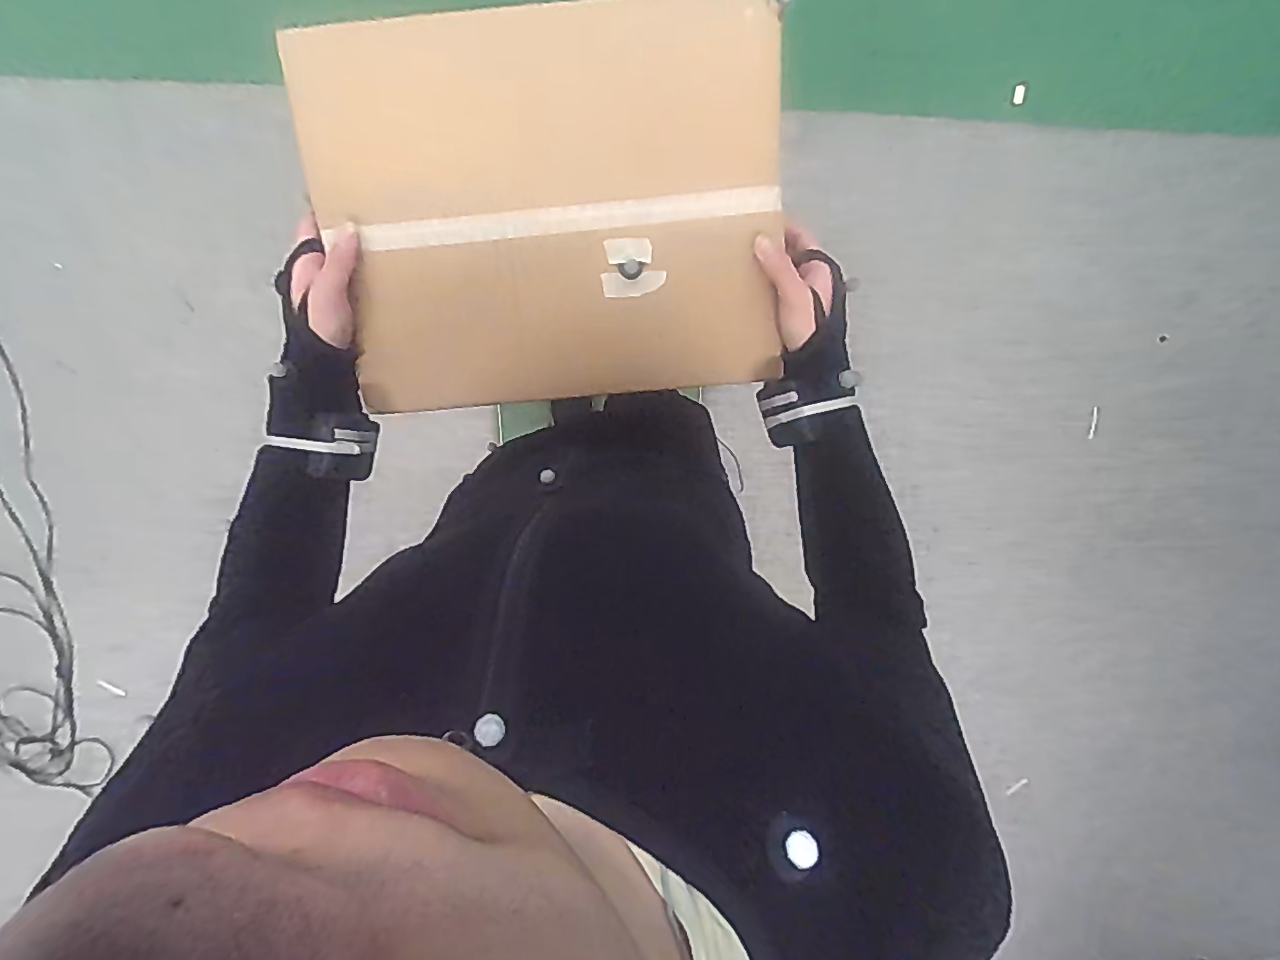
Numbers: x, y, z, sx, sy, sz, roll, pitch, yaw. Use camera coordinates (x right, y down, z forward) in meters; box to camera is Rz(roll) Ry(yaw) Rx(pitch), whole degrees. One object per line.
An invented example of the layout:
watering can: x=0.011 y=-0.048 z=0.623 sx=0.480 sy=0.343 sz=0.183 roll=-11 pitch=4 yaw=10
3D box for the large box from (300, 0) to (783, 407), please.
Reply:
large box: x=-0.077 y=-0.279 z=0.631 sx=0.408 sy=0.320 sz=0.320 roll=-5 pitch=107 yaw=0
